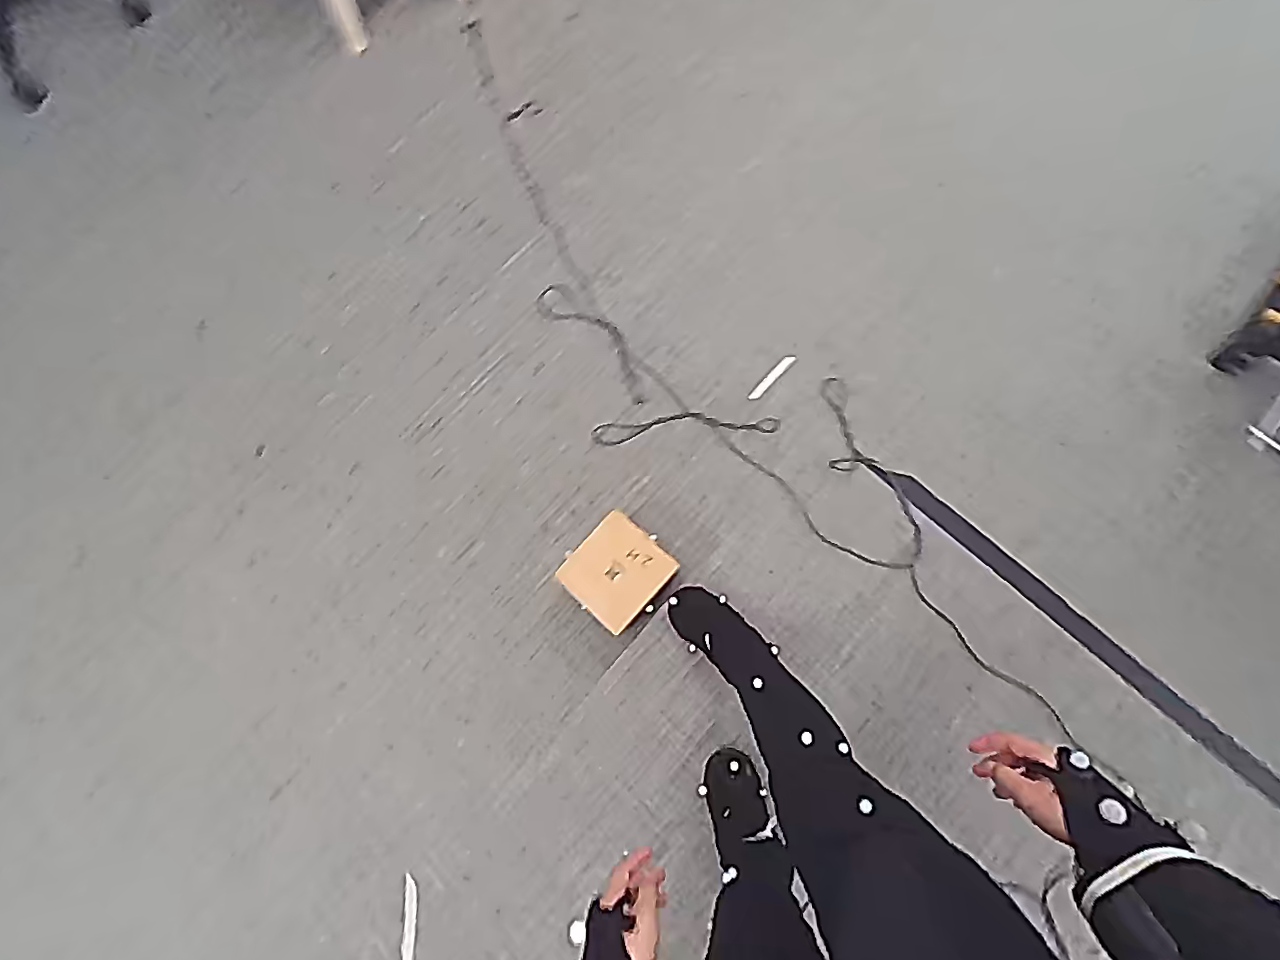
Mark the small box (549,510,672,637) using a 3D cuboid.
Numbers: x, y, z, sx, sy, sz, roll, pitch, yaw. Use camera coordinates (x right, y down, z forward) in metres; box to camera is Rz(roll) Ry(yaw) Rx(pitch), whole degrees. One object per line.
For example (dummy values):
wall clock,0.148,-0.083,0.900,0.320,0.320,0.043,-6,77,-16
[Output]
small box,-0.051,0.187,1.077,0.168,0.176,0.179,42,82,9
